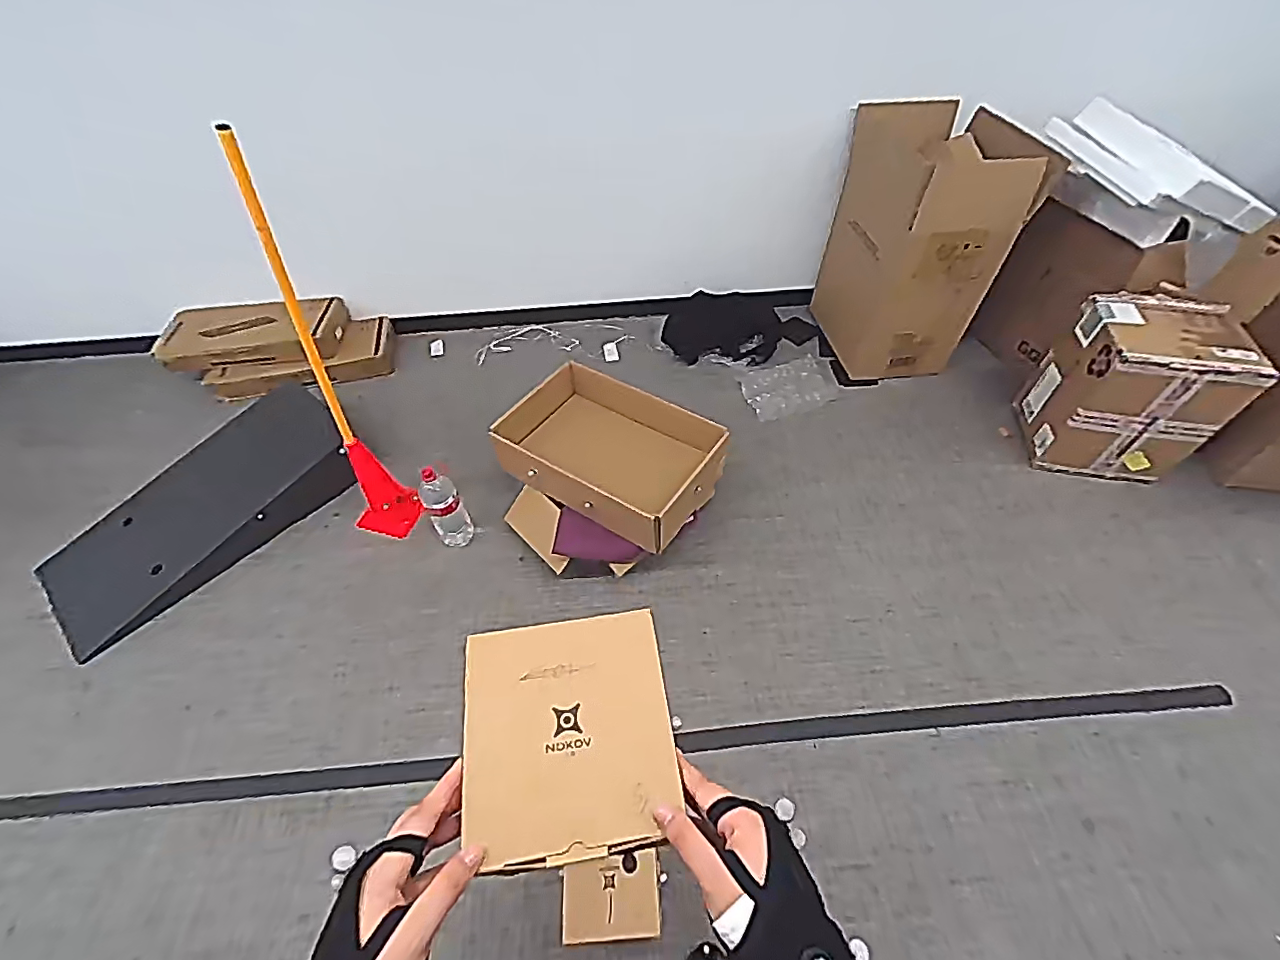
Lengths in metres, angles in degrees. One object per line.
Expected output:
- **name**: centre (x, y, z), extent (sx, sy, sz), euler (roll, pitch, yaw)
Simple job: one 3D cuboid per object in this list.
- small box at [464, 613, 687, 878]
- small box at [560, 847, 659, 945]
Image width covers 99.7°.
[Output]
- **small box**: centre (-0.058, 0.245, 0.499), extent (0.168, 0.176, 0.179), euler (-7, 54, -7)
- **small box**: centre (-0.053, 0.746, 1.005), extent (0.168, 0.176, 0.179), euler (-4, 51, -1)
